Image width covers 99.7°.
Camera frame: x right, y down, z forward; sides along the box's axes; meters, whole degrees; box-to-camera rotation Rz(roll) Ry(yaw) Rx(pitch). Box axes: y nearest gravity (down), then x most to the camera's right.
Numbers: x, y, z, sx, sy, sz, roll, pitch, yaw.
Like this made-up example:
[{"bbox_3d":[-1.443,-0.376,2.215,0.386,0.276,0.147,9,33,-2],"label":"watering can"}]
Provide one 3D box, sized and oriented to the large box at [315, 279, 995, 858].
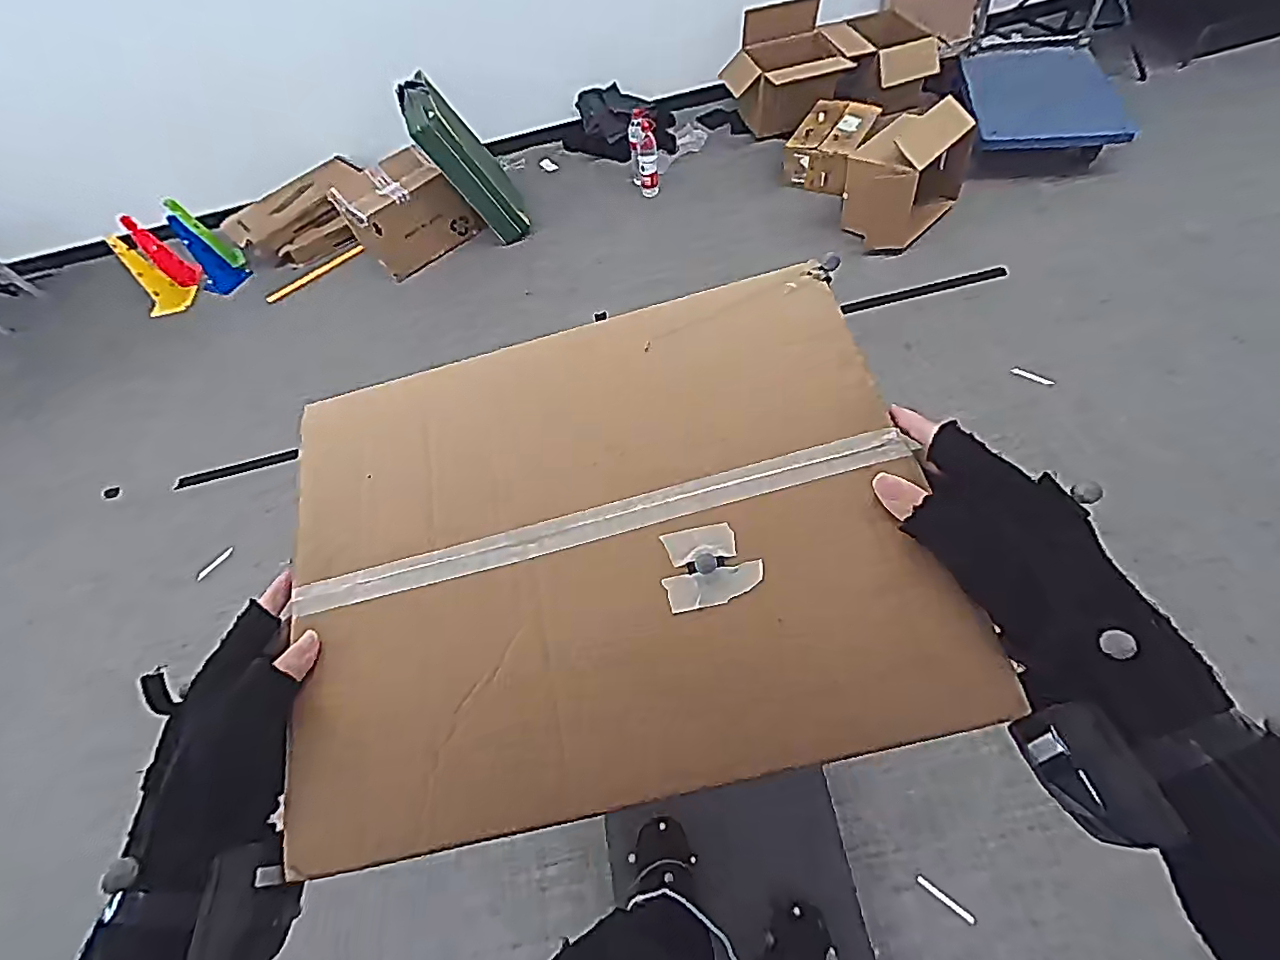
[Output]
[{"bbox_3d":[-0.007,0.089,0.497,0.408,0.320,0.320,-15,67,3],"label":"large box"}]
